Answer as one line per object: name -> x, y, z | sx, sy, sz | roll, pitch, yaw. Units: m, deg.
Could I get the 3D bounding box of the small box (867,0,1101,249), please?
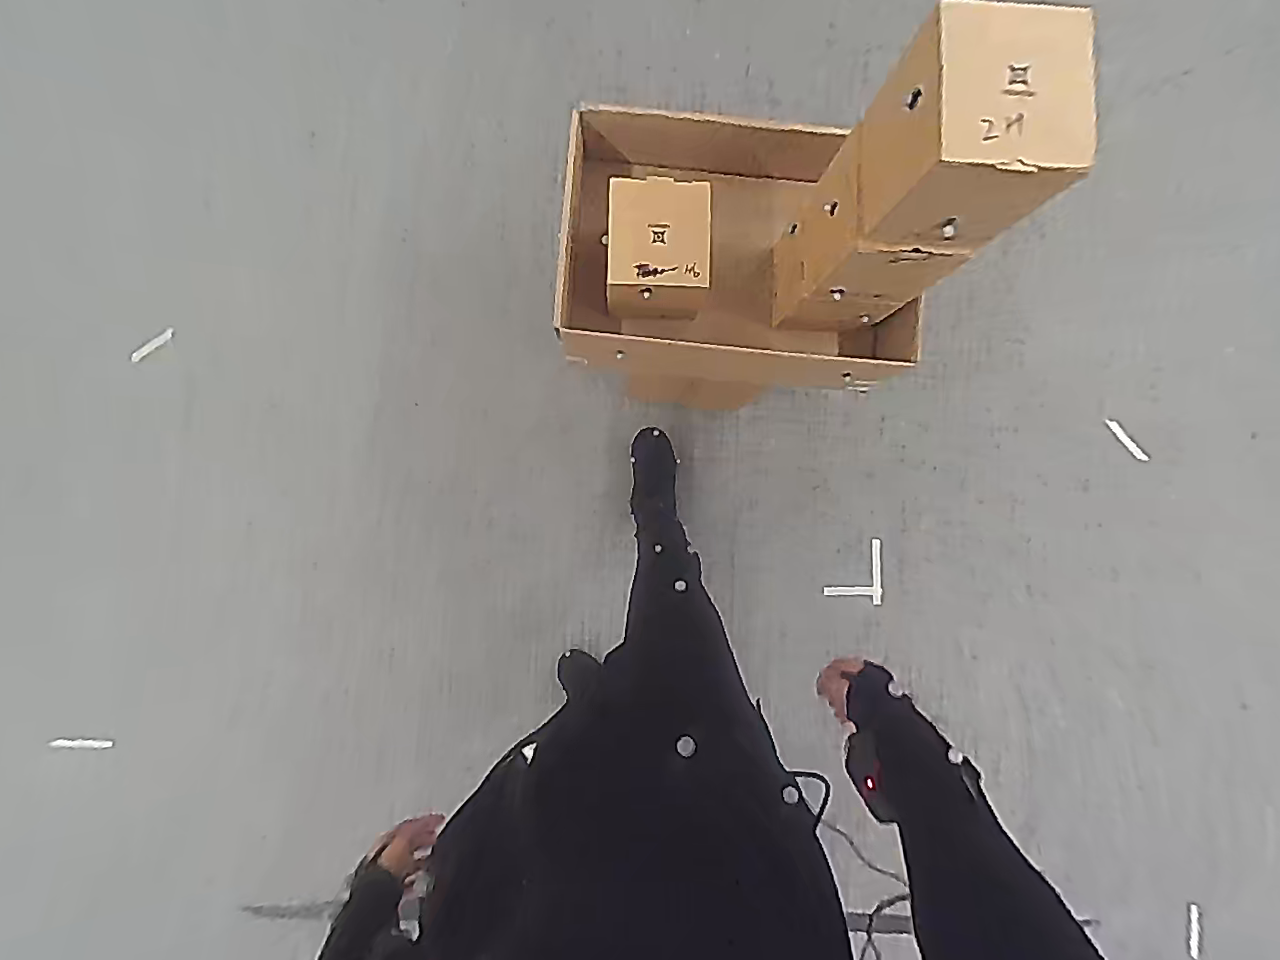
small box -> 0.378, -0.393, 0.622 | 0.168, 0.176, 0.179 | 1, 89, -3

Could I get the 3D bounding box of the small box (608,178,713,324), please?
small box -> 0.030, -0.386, 0.935 | 0.168, 0.176, 0.179 | 1, 88, -2

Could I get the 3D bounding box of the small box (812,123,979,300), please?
small box -> 0.360, -0.375, 0.785 | 0.168, 0.176, 0.179 | 1, 88, -4
